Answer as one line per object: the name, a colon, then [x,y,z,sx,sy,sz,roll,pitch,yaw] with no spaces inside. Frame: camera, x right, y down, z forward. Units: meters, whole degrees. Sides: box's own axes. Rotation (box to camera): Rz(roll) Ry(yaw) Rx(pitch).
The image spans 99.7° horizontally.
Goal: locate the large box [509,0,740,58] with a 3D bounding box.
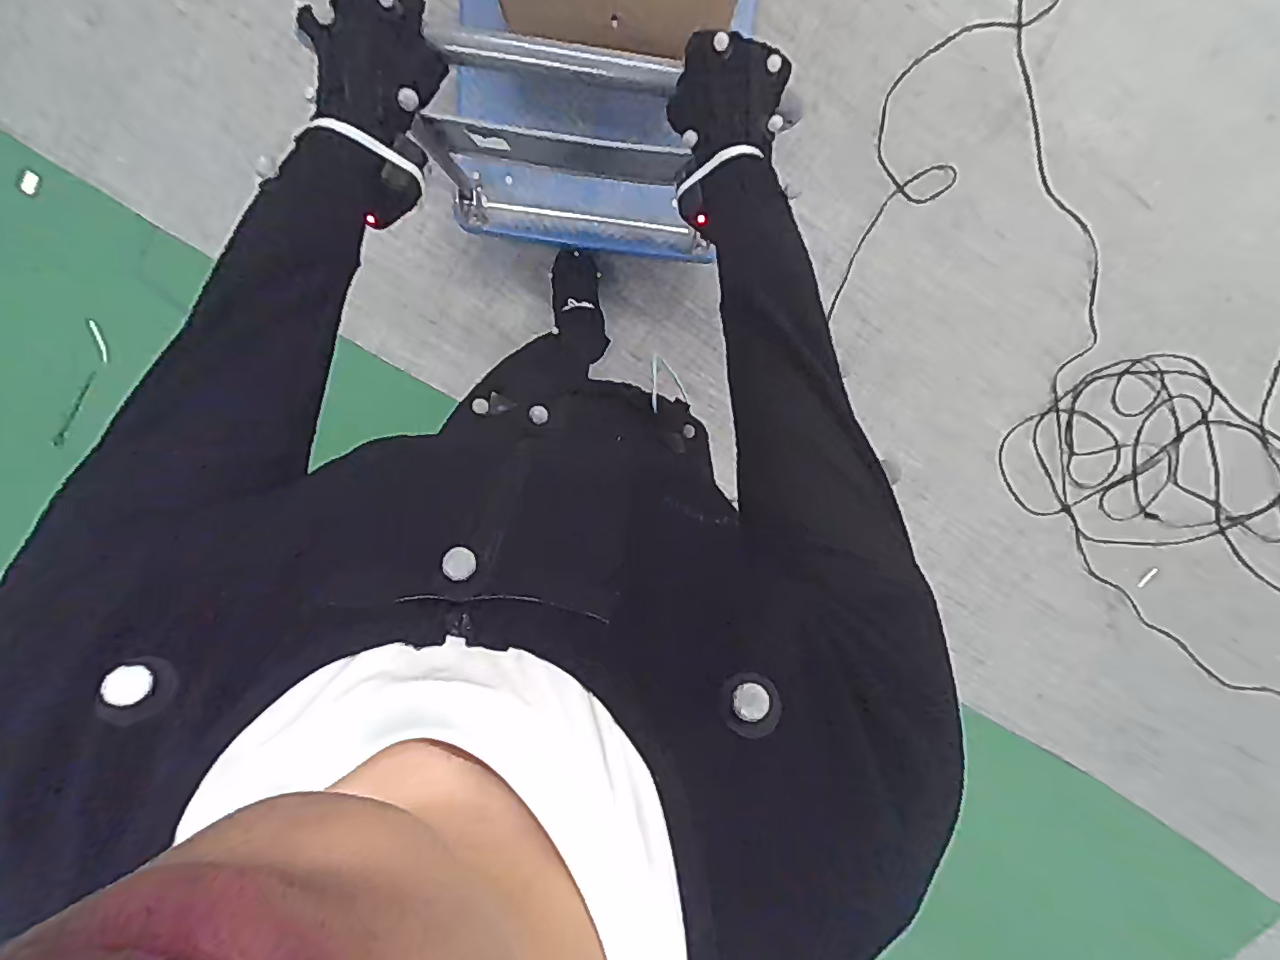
large box: [-0.021,-0.963,0.897,0.408,0.320,0.320,5,105,-2]
